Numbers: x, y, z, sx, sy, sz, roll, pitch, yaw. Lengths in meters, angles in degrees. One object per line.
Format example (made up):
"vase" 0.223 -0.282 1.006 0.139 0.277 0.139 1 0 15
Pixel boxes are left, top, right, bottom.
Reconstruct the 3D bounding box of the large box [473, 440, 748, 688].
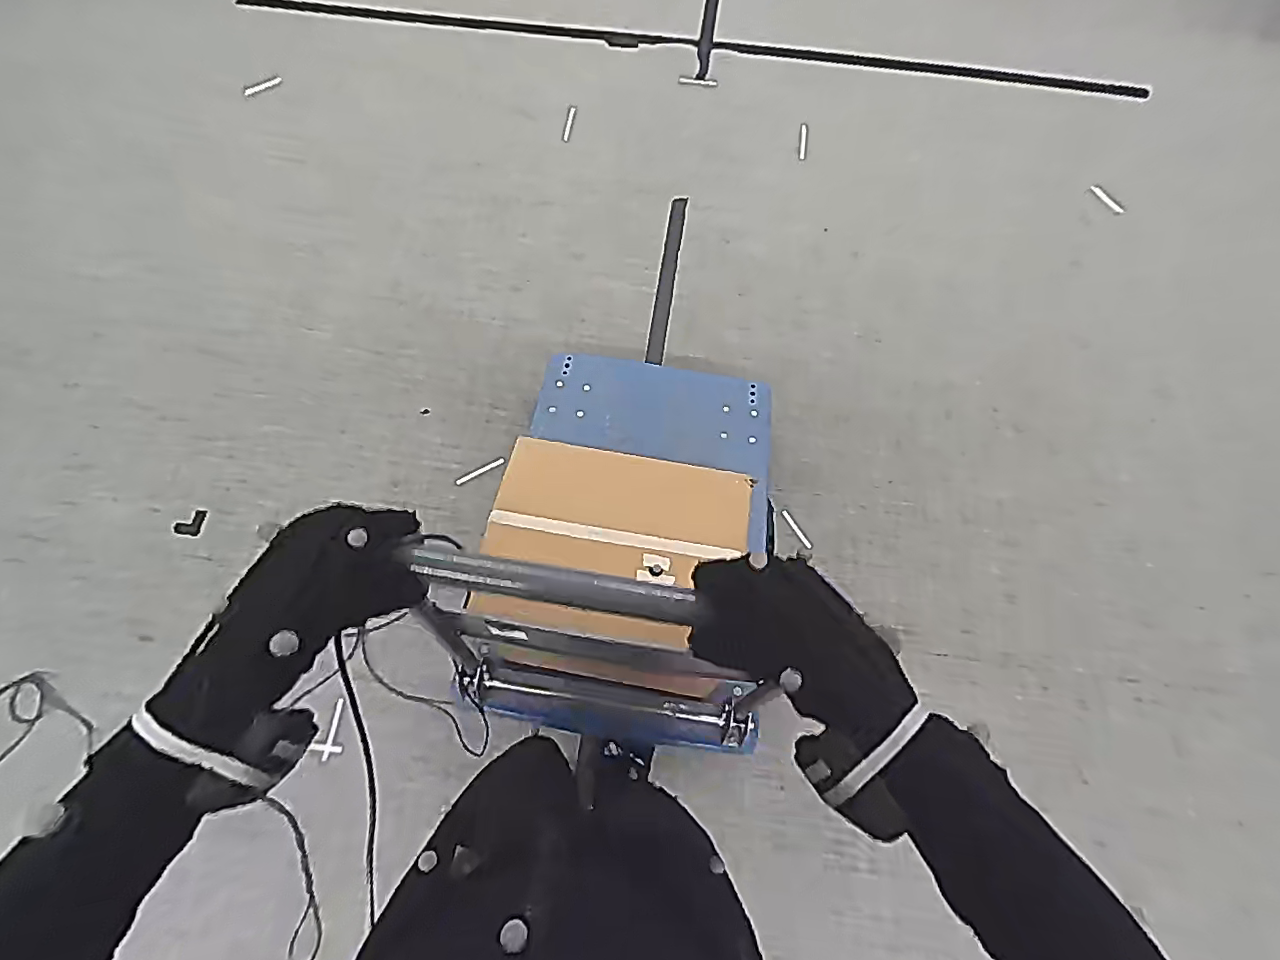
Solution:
"large box" -0.043 0.165 0.990 0.408 0.320 0.320 10 60 1
